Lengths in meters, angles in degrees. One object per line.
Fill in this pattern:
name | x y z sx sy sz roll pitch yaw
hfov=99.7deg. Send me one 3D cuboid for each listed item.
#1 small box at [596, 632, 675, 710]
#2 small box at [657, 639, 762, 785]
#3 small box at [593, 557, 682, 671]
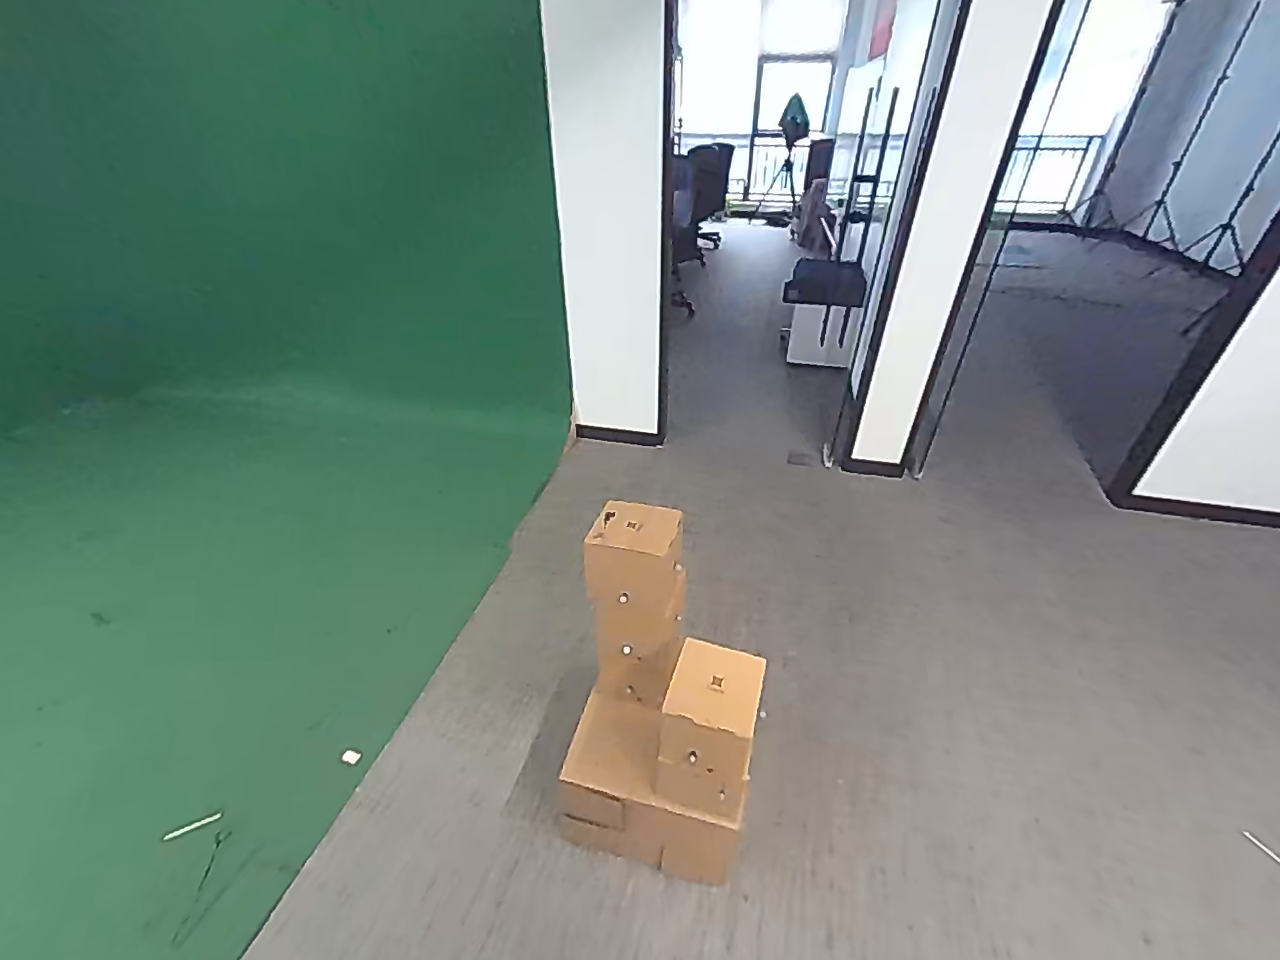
small box | -0.009 0.444 1.374 0.168 0.176 0.179 8 32 13
small box | 0.134 0.454 1.063 0.168 0.176 0.179 12 35 14
small box | -0.004 0.313 1.274 0.168 0.176 0.179 9 33 14
